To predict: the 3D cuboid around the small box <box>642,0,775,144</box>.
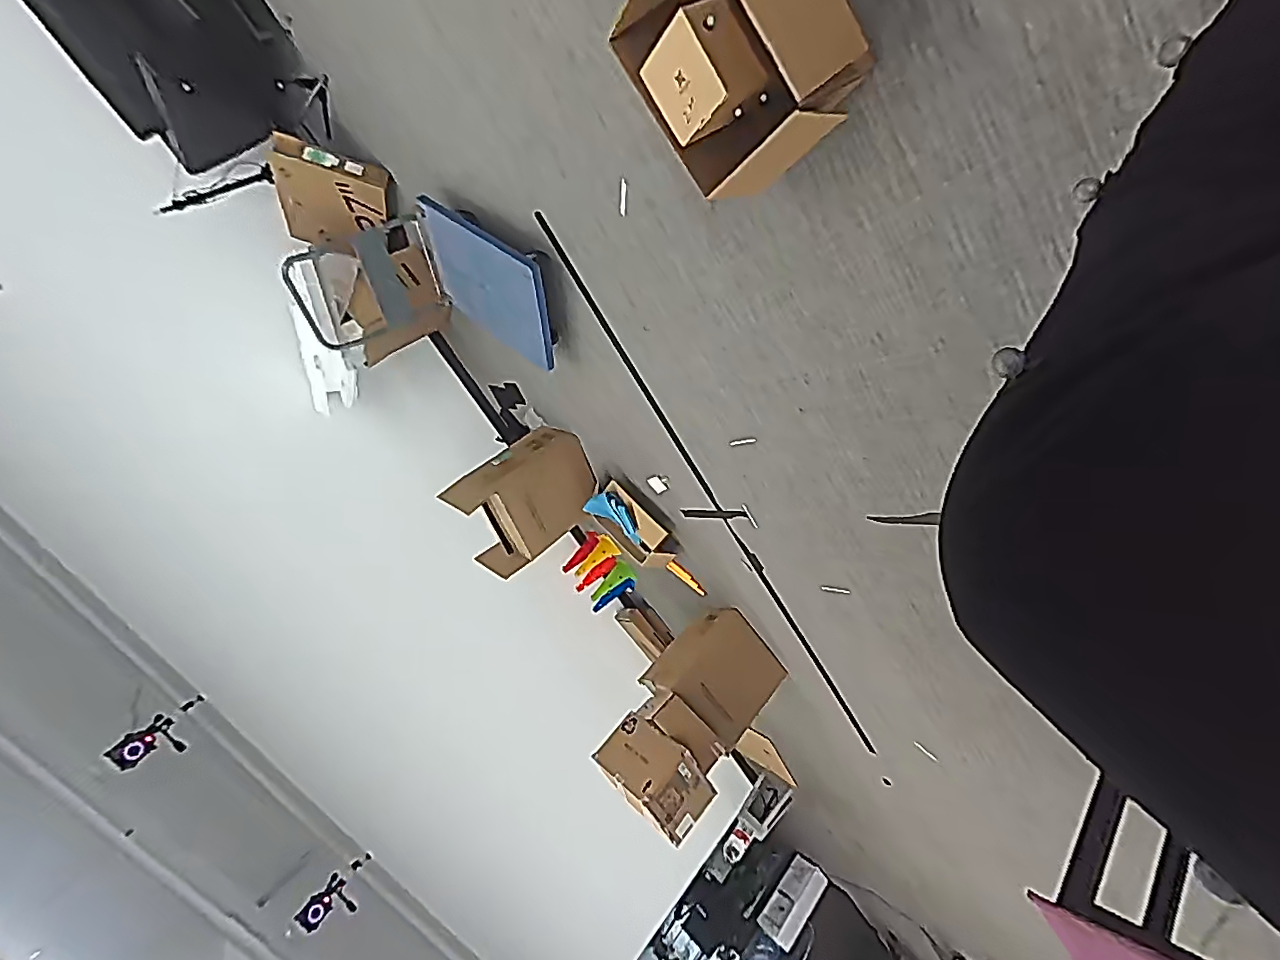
[{"bbox_3d":[0.144,-0.858,1.132,0.179,0.176,0.168,55,154,-13],"label":"small box"}]
